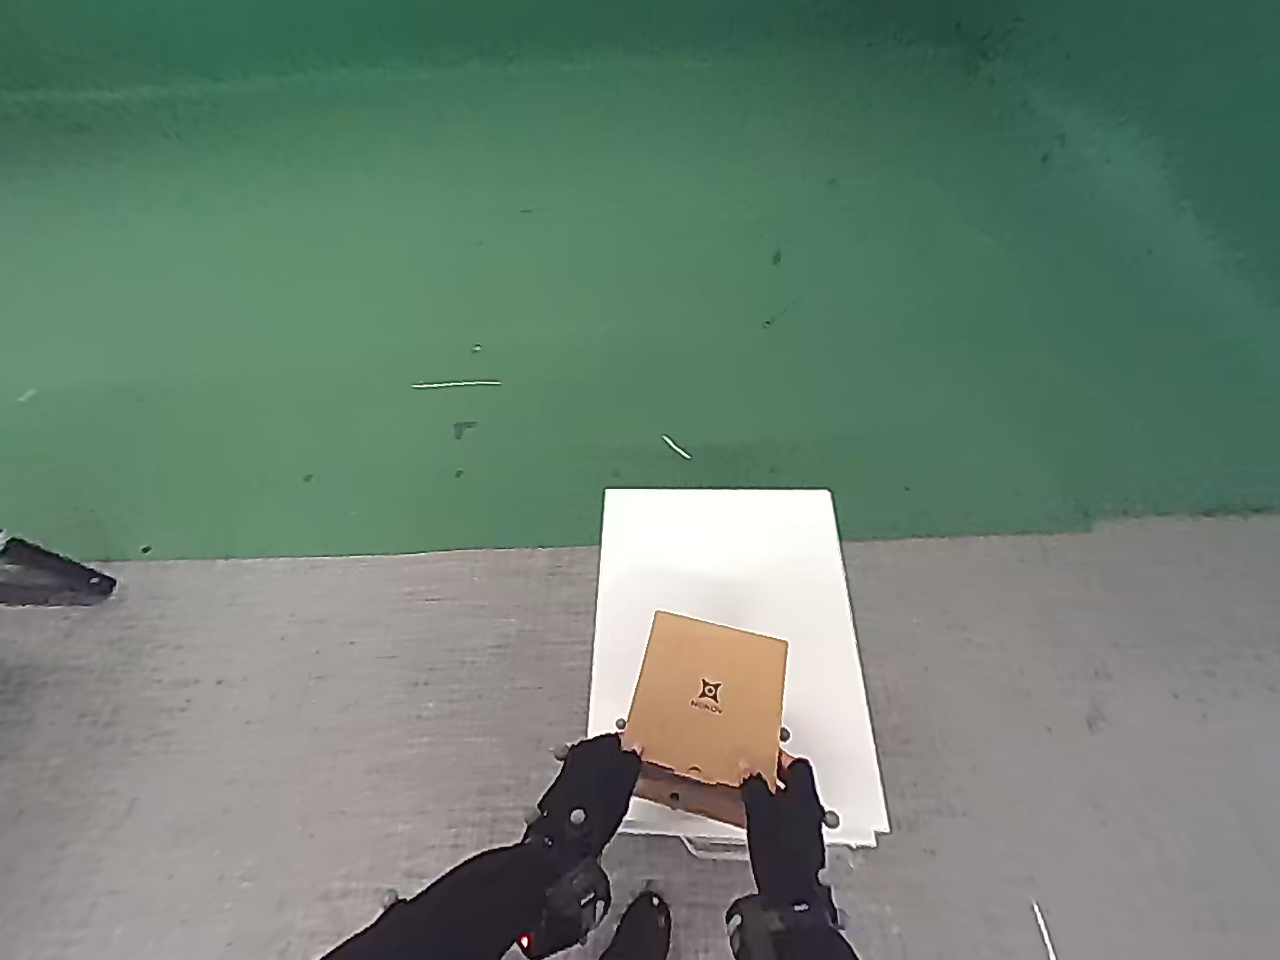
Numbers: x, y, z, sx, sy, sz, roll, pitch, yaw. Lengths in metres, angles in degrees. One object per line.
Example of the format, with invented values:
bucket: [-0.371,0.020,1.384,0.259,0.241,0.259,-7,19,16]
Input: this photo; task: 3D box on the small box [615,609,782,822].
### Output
small box: [0.069,0.290,0.665,0.168,0.176,0.179,11,51,9]
